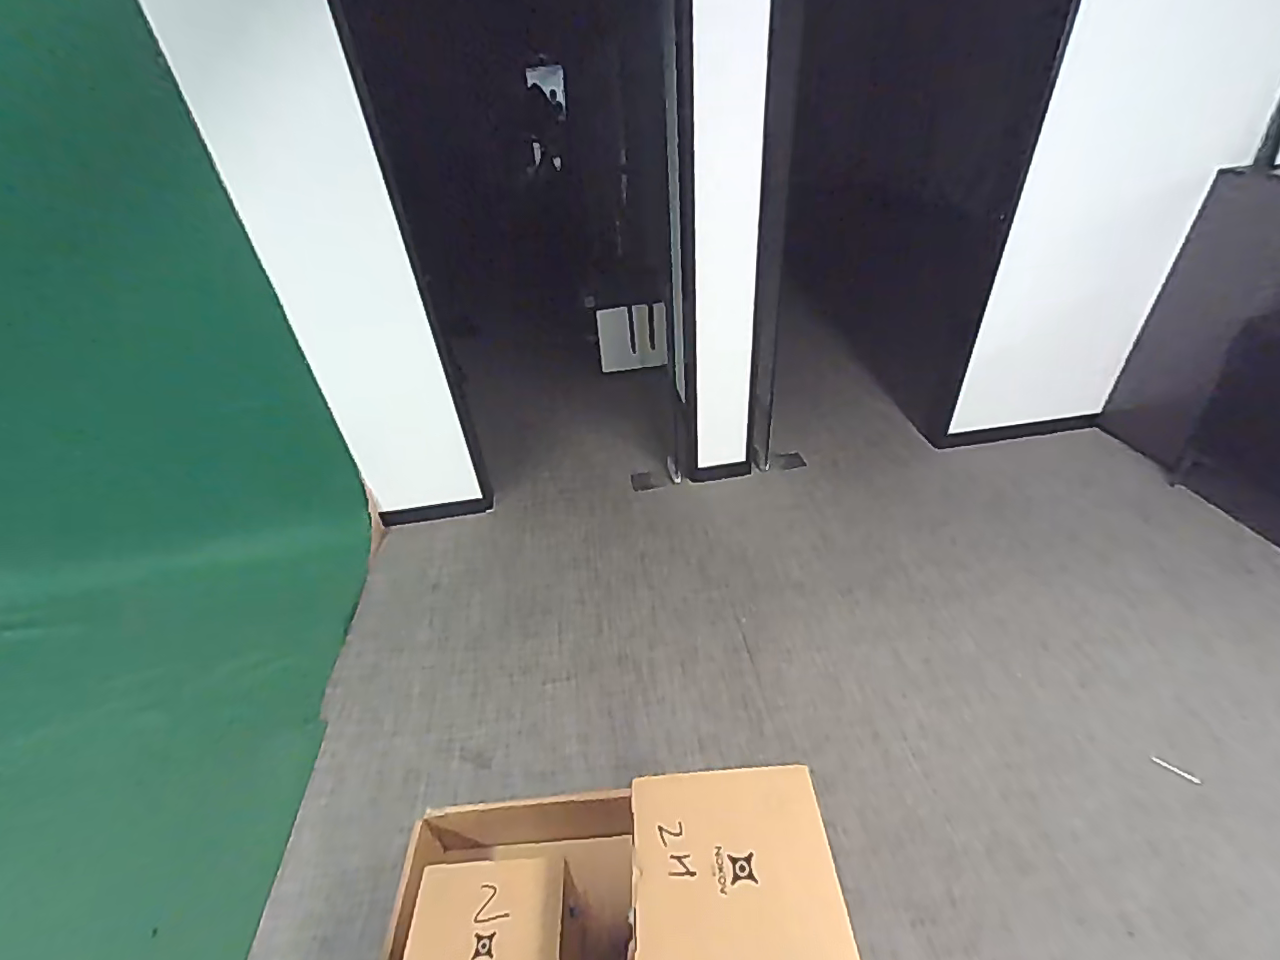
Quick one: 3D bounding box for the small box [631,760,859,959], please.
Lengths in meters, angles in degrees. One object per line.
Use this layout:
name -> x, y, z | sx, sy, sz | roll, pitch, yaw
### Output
small box -> 0.087, 0.394, 0.515 | 0.179, 0.176, 0.168 | -7, 36, 3
